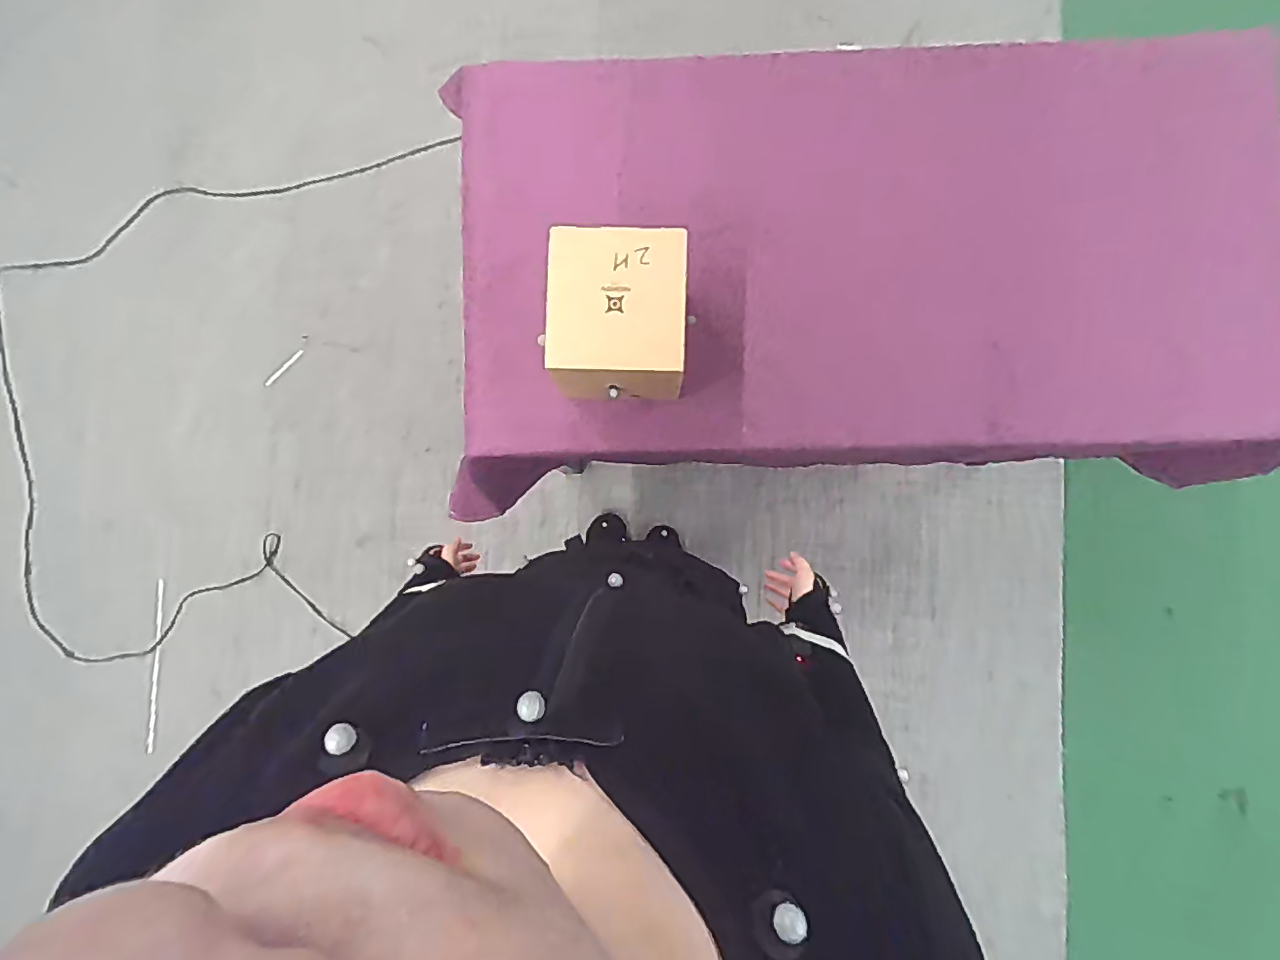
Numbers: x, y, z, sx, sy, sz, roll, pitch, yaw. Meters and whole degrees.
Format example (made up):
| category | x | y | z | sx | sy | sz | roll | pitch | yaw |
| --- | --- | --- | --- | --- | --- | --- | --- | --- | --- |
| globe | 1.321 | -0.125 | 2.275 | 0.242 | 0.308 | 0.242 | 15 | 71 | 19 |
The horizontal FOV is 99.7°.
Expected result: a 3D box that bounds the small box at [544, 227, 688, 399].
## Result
| category | x | y | z | sx | sy | sz | roll | pitch | yaw |
| --- | --- | --- | --- | --- | --- | --- | --- | --- | --- |
| small box | -0.026 | -0.208 | 0.717 | 0.168 | 0.176 | 0.179 | 2 | 87 | 1 |
